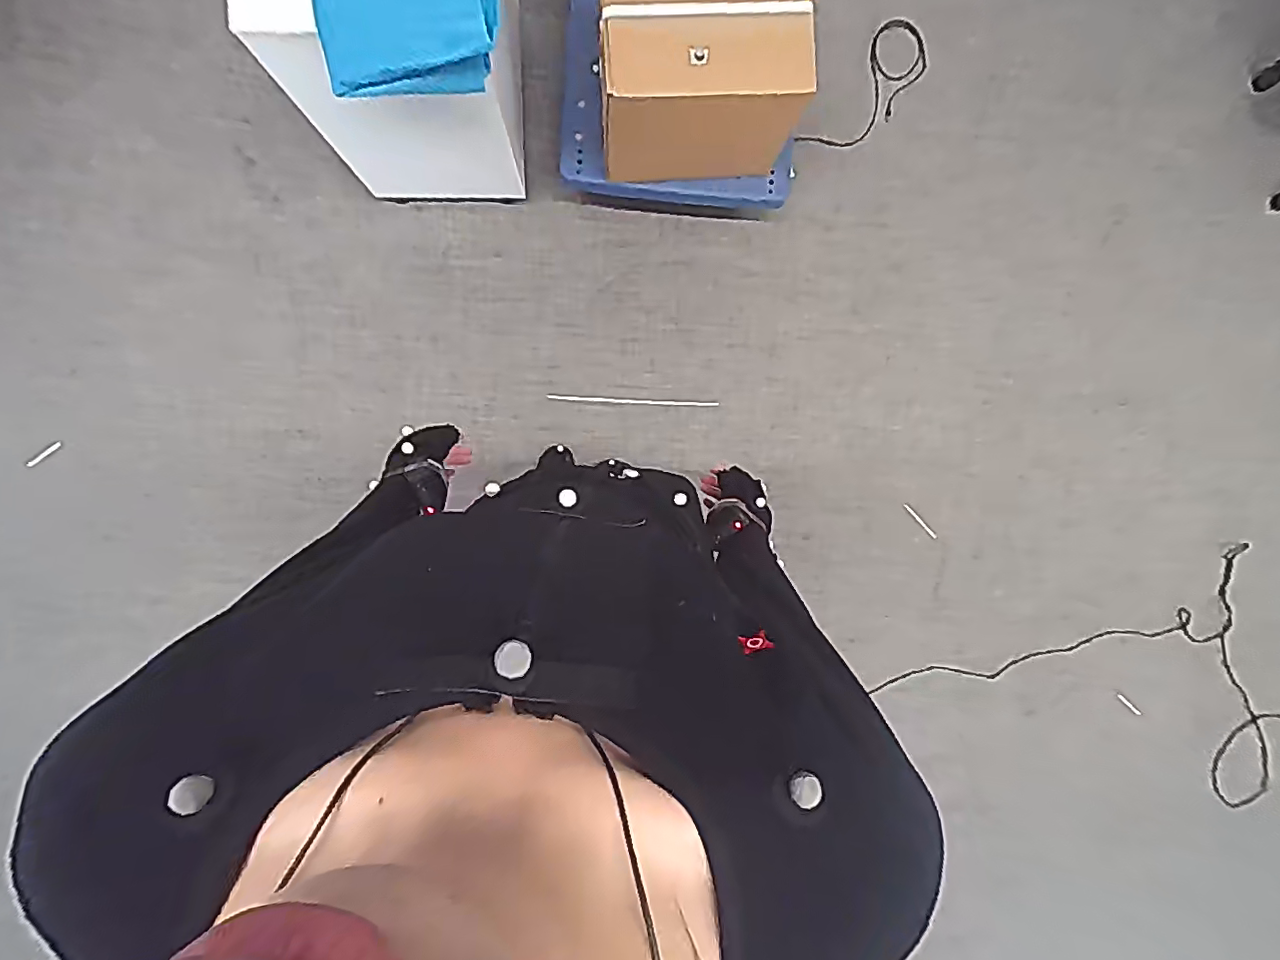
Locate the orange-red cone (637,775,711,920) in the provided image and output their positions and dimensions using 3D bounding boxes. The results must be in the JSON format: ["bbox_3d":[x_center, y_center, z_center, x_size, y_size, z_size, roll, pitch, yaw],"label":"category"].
[{"bbox_3d":[0.106,0.960,1.381,0.198,0.360,0.199,7,93,-3],"label":"orange-red cone"}]
